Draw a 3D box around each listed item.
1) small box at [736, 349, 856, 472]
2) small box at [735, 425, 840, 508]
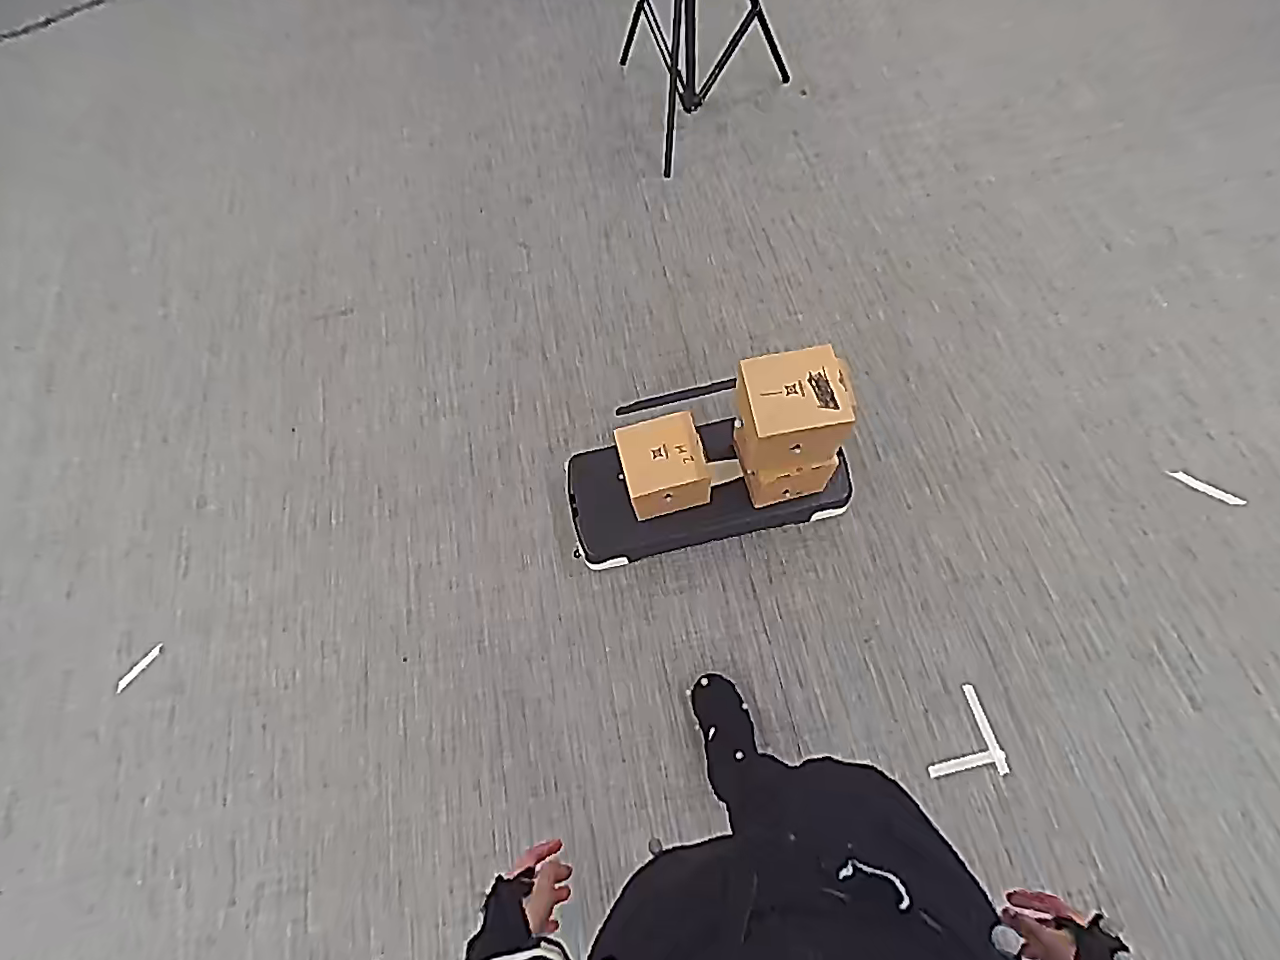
[{"bbox_3d":[0.293,-0.129,1.055,0.179,0.176,0.168,-10,69,3],"label":"small box"},{"bbox_3d":[0.315,-0.058,1.203,0.168,0.176,0.179,-15,69,0],"label":"small box"}]
